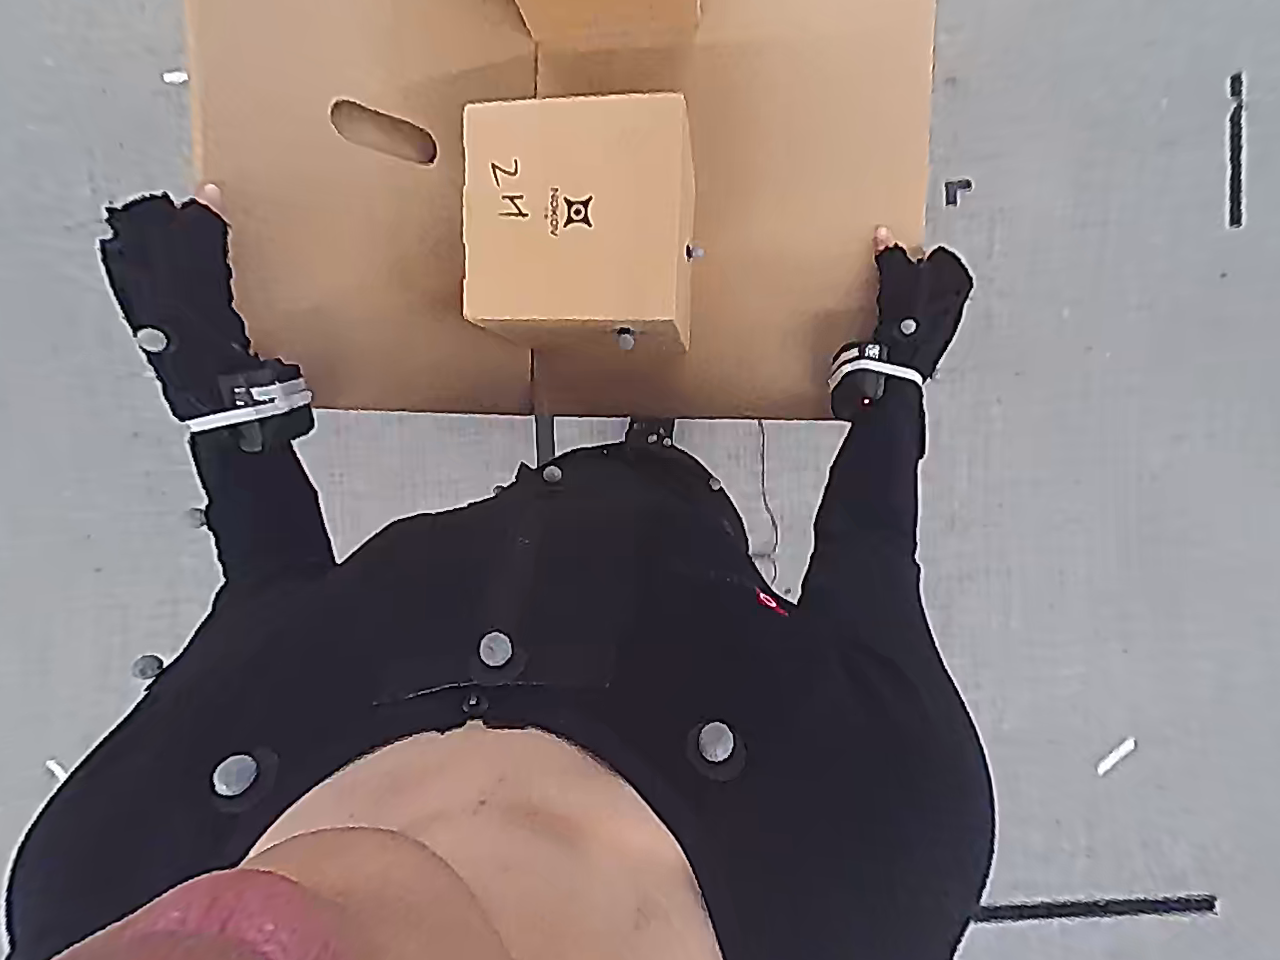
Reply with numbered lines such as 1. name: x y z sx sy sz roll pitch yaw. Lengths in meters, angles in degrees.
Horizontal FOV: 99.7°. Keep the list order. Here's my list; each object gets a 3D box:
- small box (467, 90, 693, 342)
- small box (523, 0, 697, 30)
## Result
1. small box: -0.043 -0.228 0.508 0.179 0.176 0.168 3 95 9
2. small box: -0.040 -0.547 0.480 0.179 0.176 0.168 0 95 8
